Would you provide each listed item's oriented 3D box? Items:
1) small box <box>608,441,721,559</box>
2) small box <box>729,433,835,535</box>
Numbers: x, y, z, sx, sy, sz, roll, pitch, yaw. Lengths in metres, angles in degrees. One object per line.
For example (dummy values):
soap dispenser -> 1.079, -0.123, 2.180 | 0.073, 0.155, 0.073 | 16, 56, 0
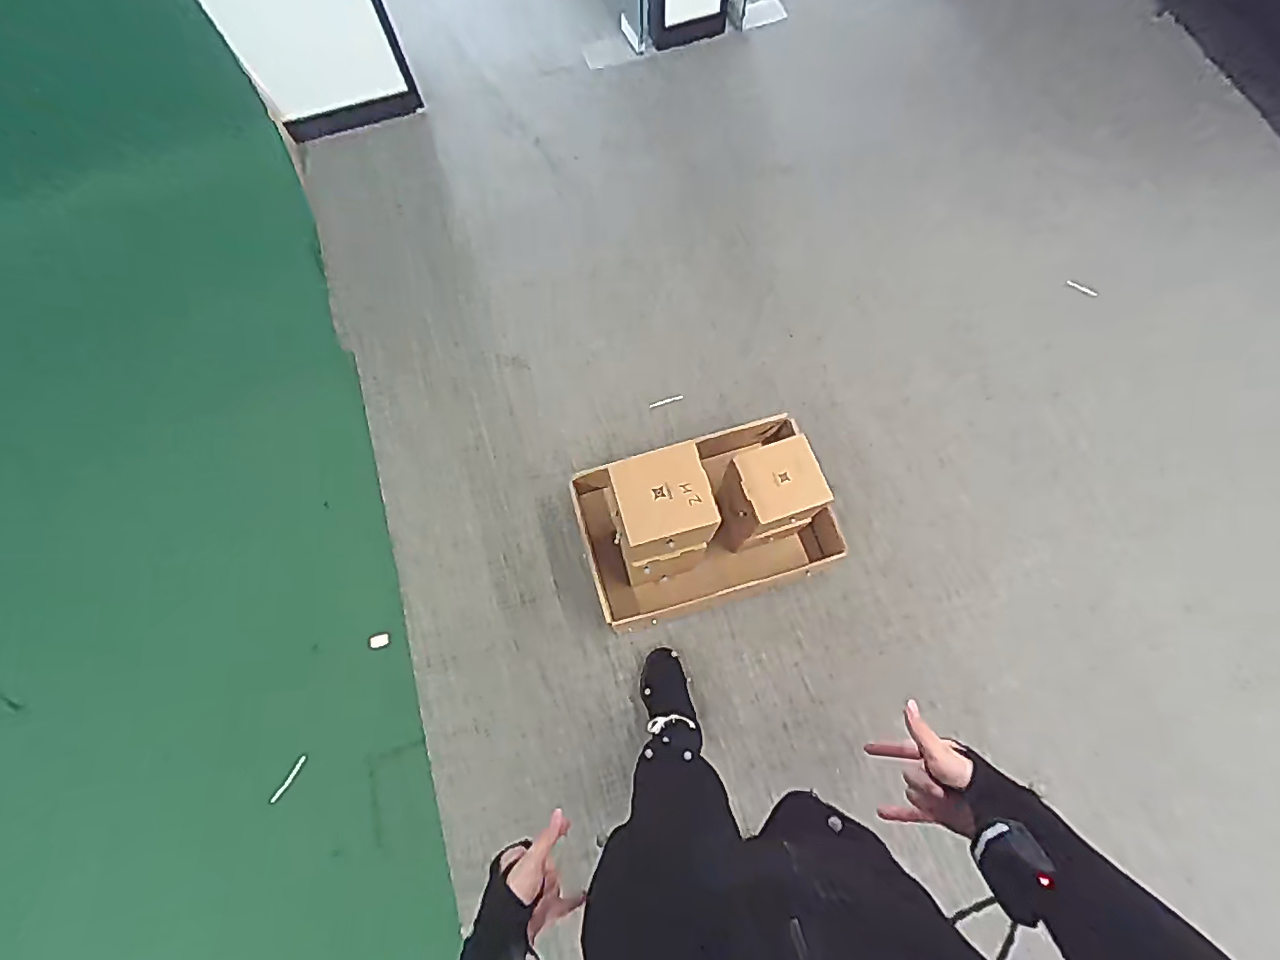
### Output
small box -> 0.045, 0.047, 1.063 | 0.179, 0.176, 0.168 | -15, 72, -5
small box -> 0.313, 0.017, 1.245 | 0.179, 0.176, 0.168 | -18, 75, -5
